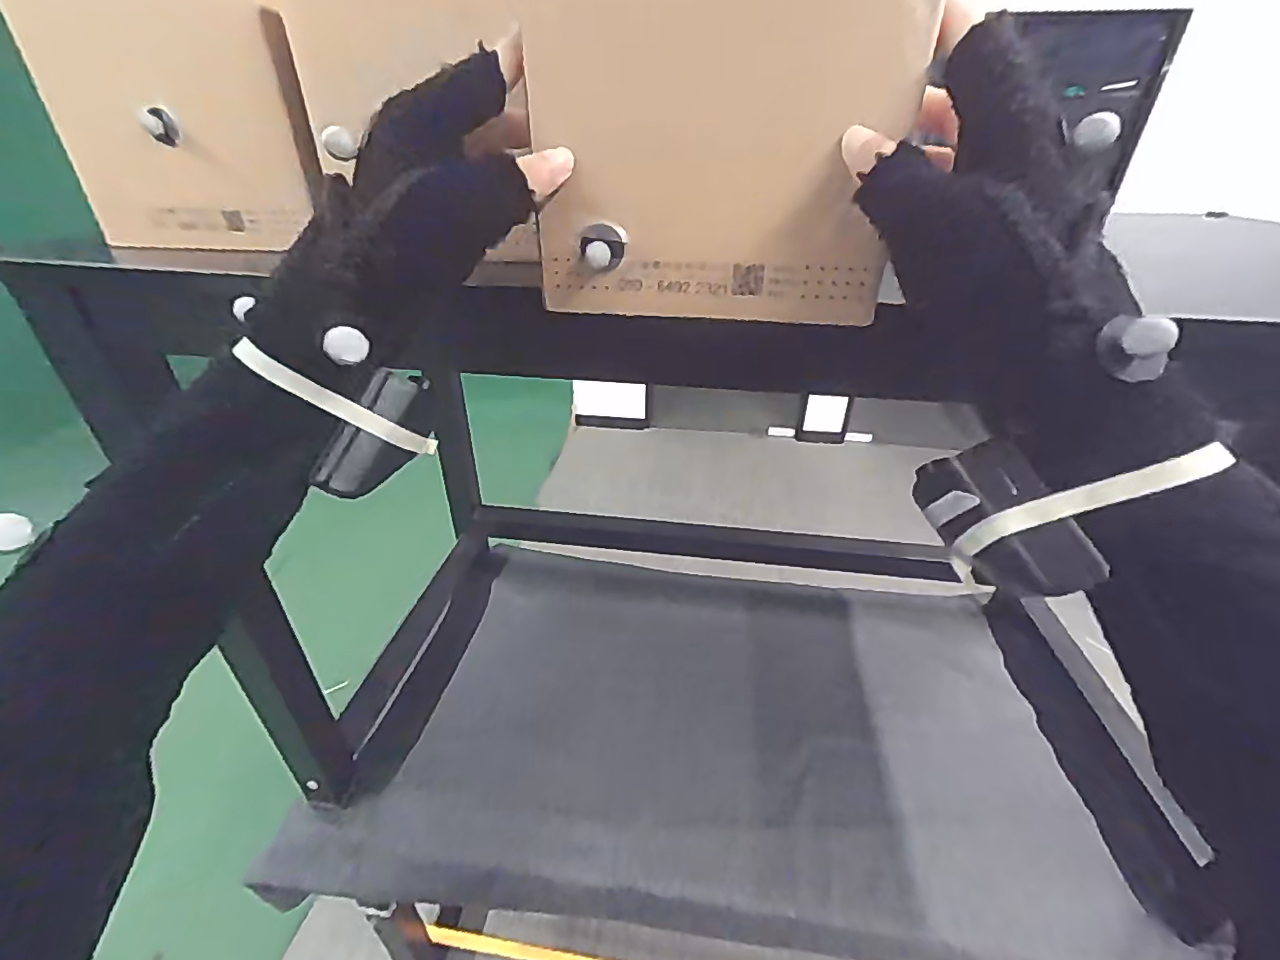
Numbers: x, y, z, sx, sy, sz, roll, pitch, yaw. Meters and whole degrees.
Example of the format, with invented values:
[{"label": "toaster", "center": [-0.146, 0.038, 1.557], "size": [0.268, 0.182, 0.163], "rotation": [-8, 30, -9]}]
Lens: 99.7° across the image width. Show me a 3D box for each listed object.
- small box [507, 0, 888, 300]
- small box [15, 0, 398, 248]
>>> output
[{"label": "small box", "center": [0.036, -0.208, 0.315], "size": [0.168, 0.176, 0.179], "rotation": [5, 31, 8]}, {"label": "small box", "center": [-0.328, -0.299, 0.459], "size": [0.168, 0.176, 0.179], "rotation": [2, 31, 0]}]
